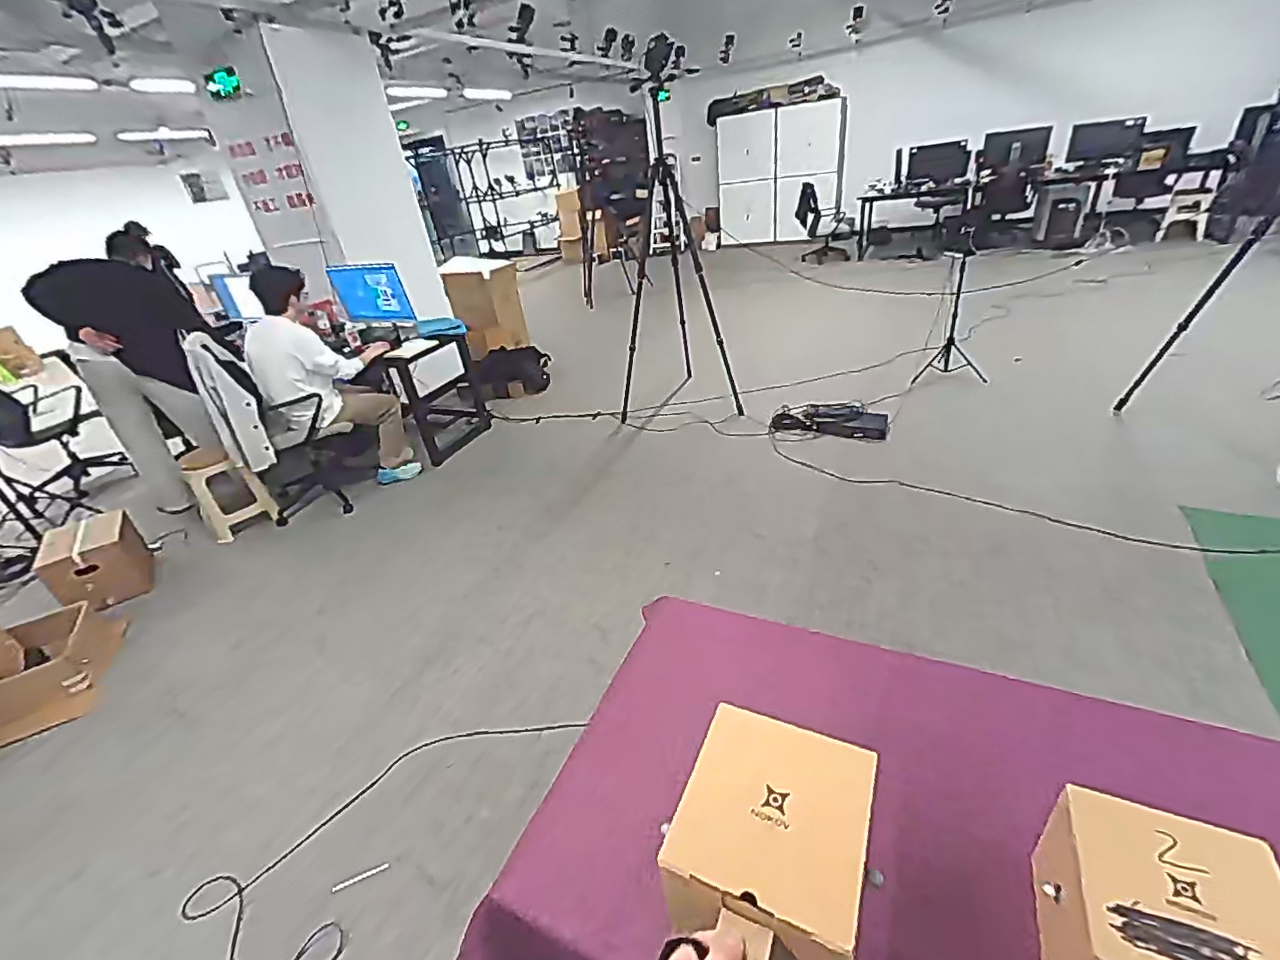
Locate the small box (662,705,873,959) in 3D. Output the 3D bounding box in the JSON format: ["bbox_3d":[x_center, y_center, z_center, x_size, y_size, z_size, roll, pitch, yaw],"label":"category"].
[{"bbox_3d":[0.135,0.380,0.563,0.168,0.176,0.179,9,35,25],"label":"small box"}]
